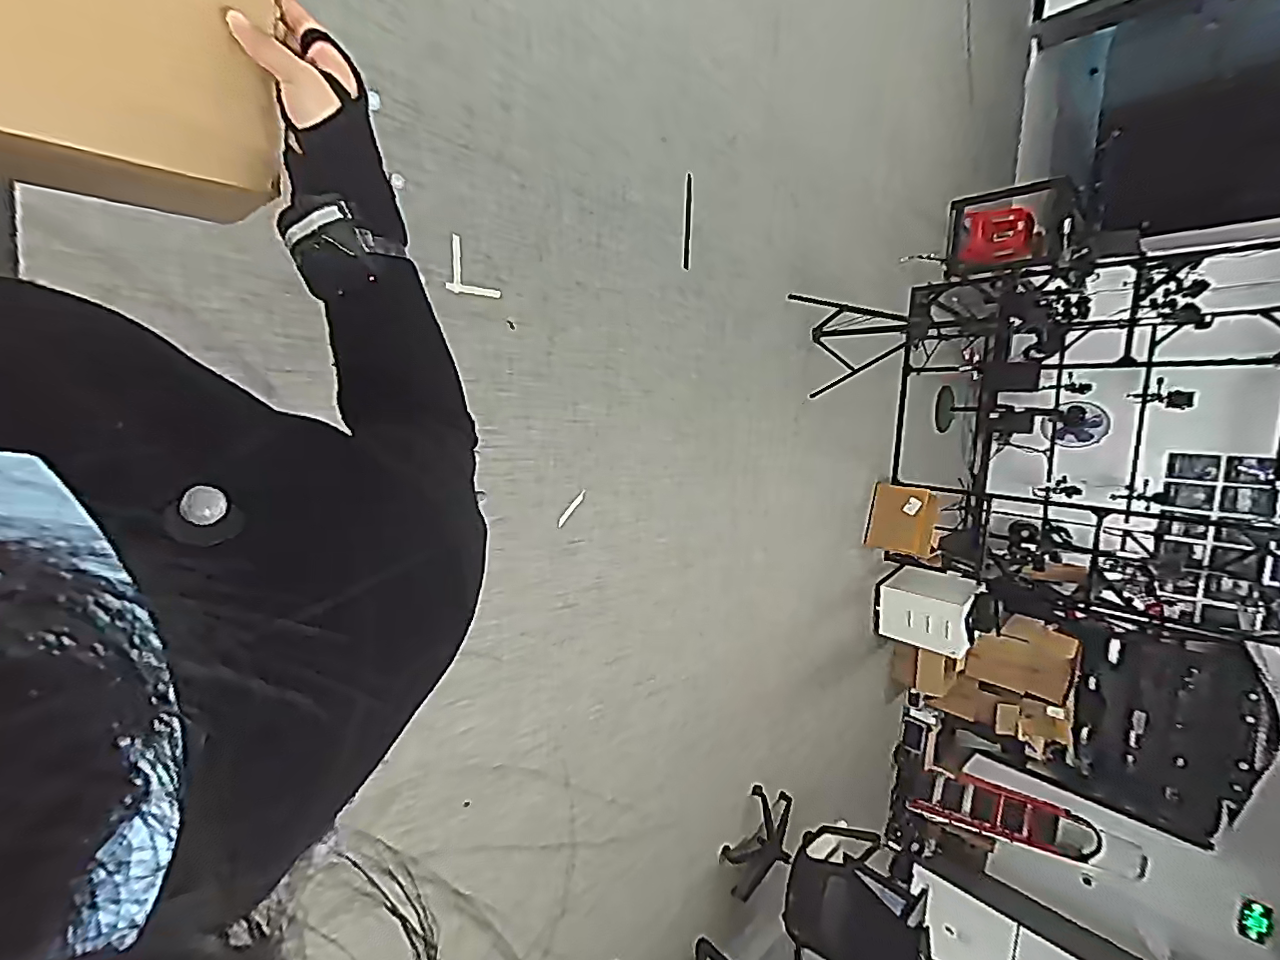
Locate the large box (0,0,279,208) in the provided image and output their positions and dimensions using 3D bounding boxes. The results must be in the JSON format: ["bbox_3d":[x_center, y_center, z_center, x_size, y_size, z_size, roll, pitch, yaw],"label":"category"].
[{"bbox_3d":[-0.521,-0.409,0.377,0.408,0.320,0.320,-6,108,-42],"label":"large box"}]
